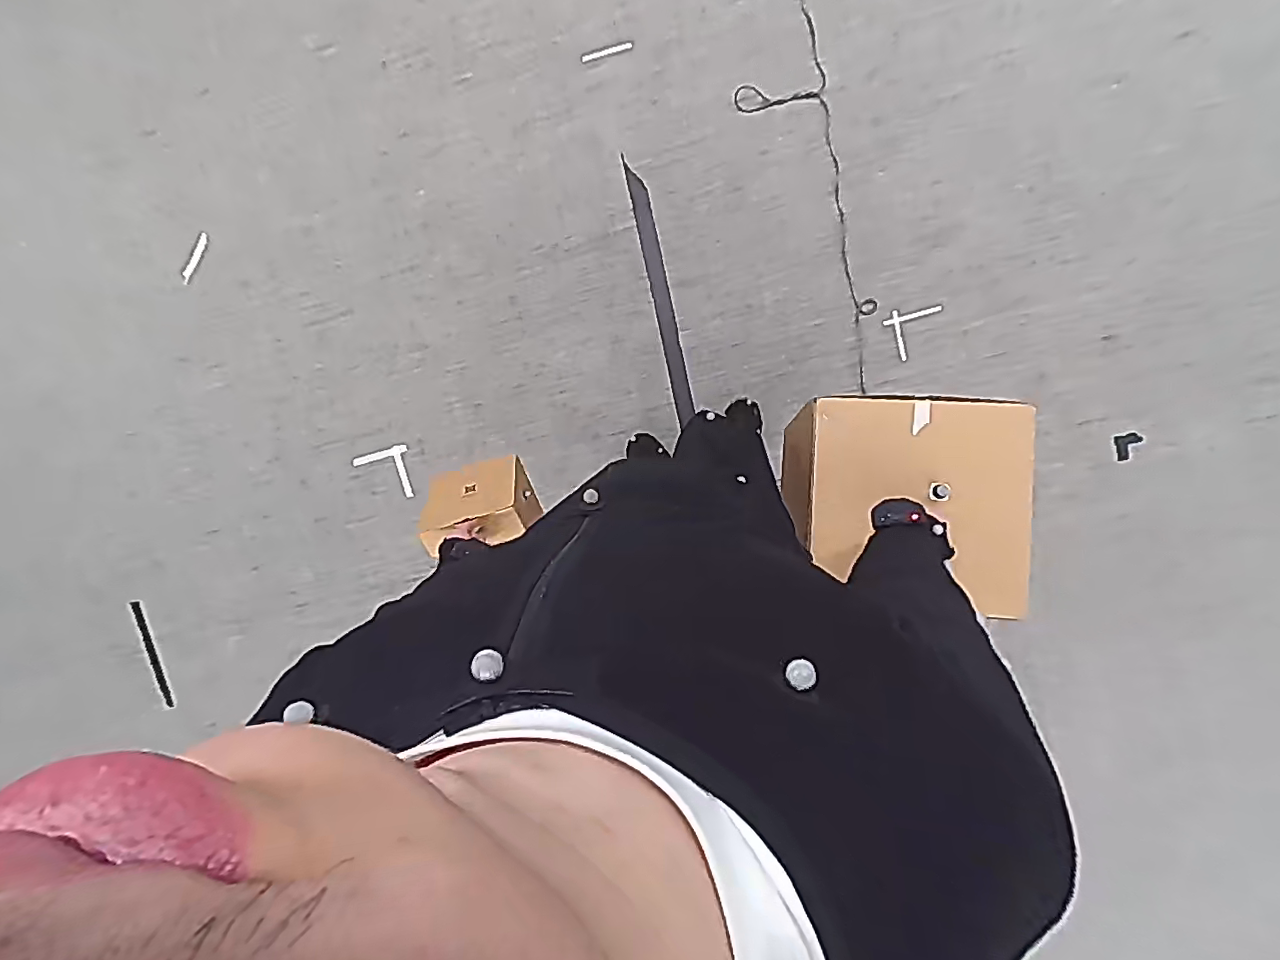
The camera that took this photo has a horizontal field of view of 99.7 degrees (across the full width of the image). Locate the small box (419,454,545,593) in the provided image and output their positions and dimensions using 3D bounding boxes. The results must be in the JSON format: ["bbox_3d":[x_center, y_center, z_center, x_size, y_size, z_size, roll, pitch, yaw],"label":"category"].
[{"bbox_3d":[-0.278,0.085,0.993,0.168,0.179,0.176,-16,127,0],"label":"small box"}]
